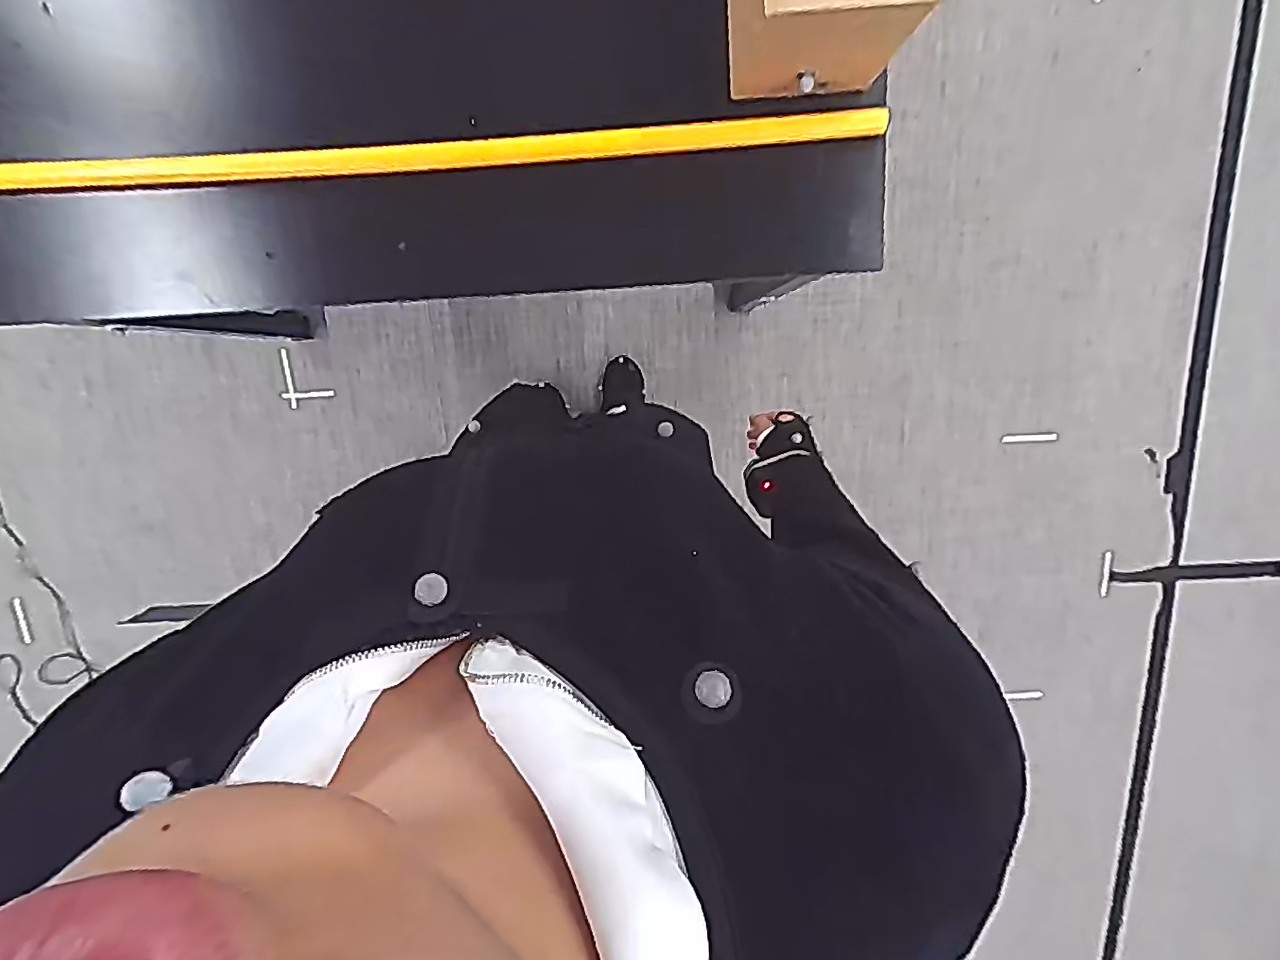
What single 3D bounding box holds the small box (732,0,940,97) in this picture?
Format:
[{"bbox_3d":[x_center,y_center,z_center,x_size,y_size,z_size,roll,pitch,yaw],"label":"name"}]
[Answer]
[{"bbox_3d":[0.189,-0.534,0.556,0.168,0.176,0.179,-4,102,0],"label":"small box"}]
